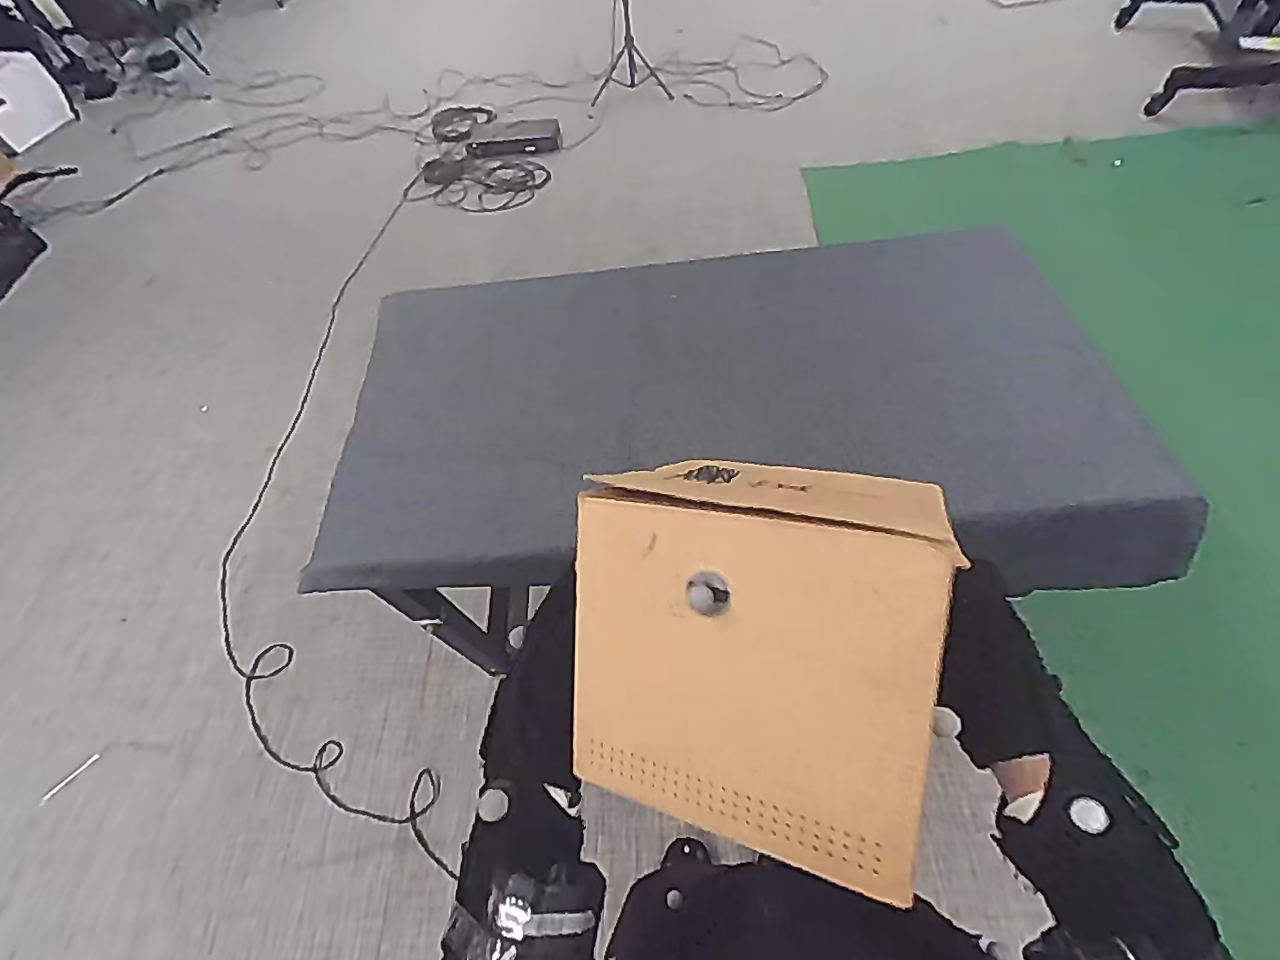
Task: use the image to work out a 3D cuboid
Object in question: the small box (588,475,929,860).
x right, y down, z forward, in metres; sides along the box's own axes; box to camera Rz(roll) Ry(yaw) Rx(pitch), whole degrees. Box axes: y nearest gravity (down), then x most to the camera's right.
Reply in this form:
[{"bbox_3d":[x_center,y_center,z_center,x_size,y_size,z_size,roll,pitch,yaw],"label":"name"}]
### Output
[{"bbox_3d":[0.080,0.091,0.347,0.179,0.168,0.176,5,98,26],"label":"small box"}]
